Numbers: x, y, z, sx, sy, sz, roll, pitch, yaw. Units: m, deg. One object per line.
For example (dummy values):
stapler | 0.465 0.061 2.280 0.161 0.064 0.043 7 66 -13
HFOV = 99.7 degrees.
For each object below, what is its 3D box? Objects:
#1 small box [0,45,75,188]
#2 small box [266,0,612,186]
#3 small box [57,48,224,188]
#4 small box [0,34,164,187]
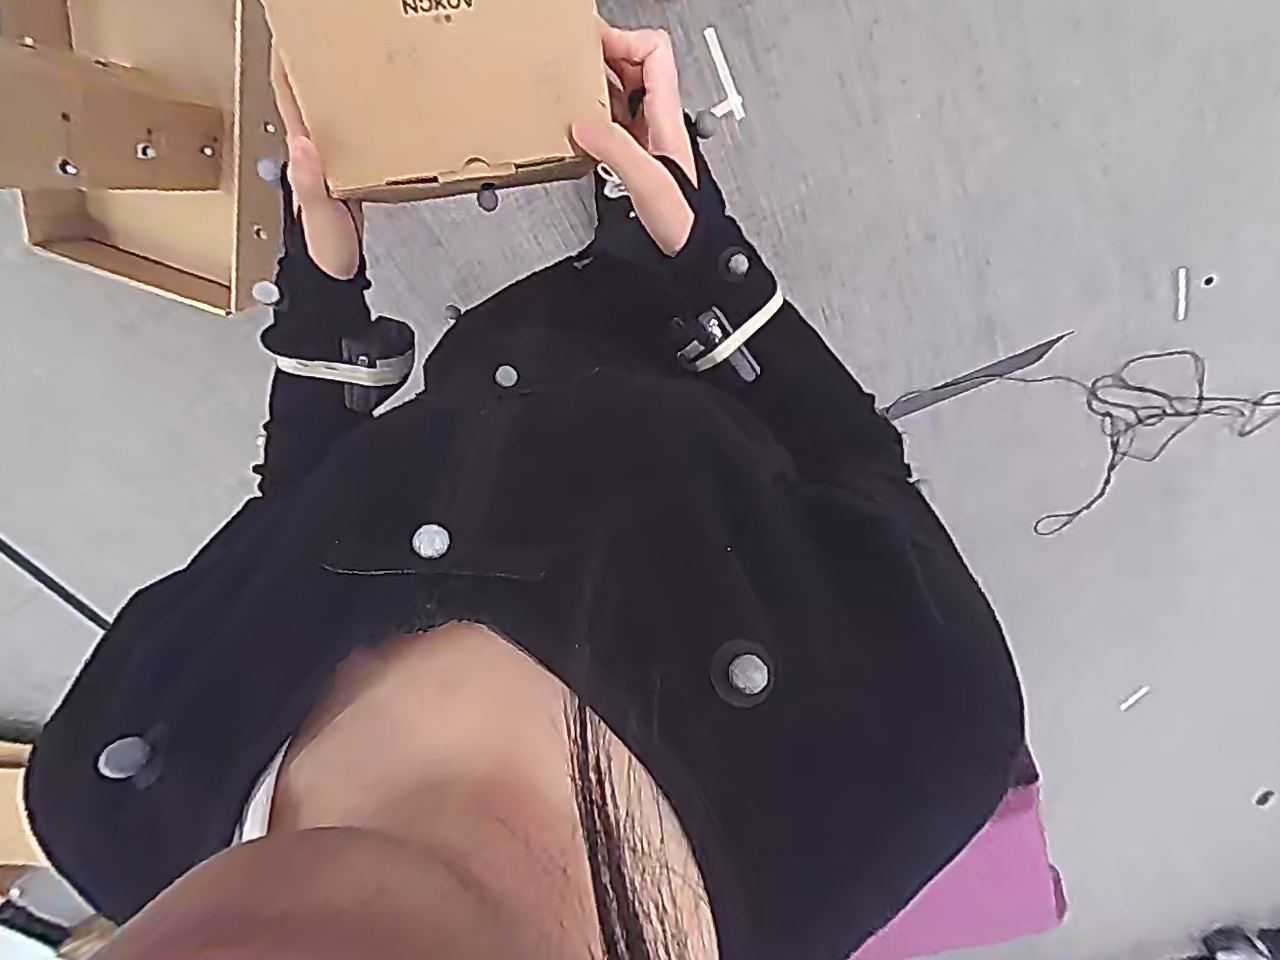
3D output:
small box | -0.965 -0.536 0.768 0.179 0.176 0.168 19 116 -10
small box | -0.121 -0.292 0.339 0.168 0.176 0.179 -13 118 -7
small box | -0.965 -0.690 1.056 0.179 0.176 0.168 21 116 -12
small box | -0.963 -0.614 0.912 0.179 0.176 0.168 19 117 -12
